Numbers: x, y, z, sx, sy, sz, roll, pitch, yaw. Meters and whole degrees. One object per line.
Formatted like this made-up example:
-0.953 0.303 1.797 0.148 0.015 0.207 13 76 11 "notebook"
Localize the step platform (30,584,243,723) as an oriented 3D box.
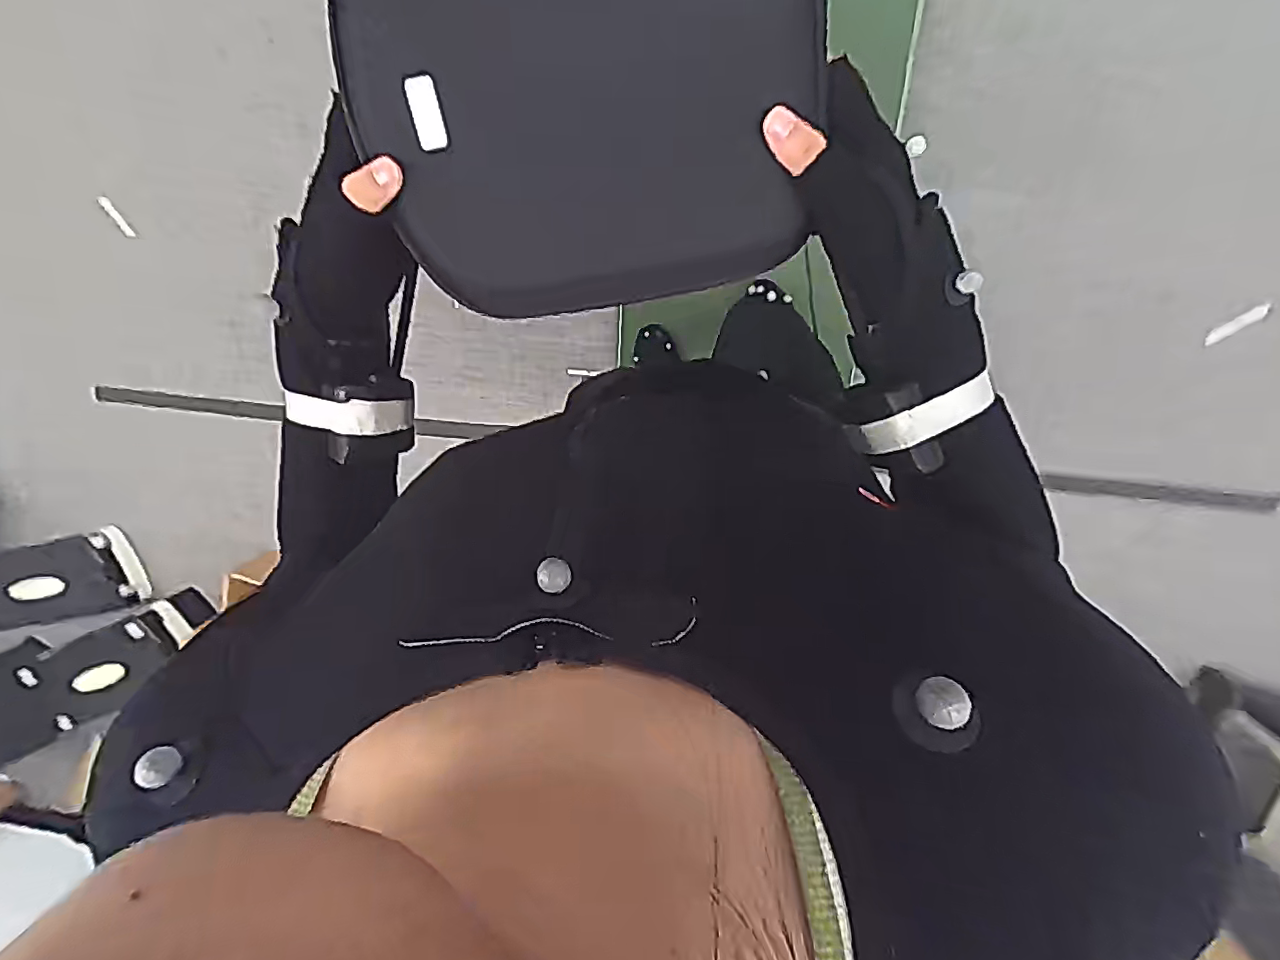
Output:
-1.788 0.622 1.920 0.684 0.204 0.286 -23 103 14 "step platform"
